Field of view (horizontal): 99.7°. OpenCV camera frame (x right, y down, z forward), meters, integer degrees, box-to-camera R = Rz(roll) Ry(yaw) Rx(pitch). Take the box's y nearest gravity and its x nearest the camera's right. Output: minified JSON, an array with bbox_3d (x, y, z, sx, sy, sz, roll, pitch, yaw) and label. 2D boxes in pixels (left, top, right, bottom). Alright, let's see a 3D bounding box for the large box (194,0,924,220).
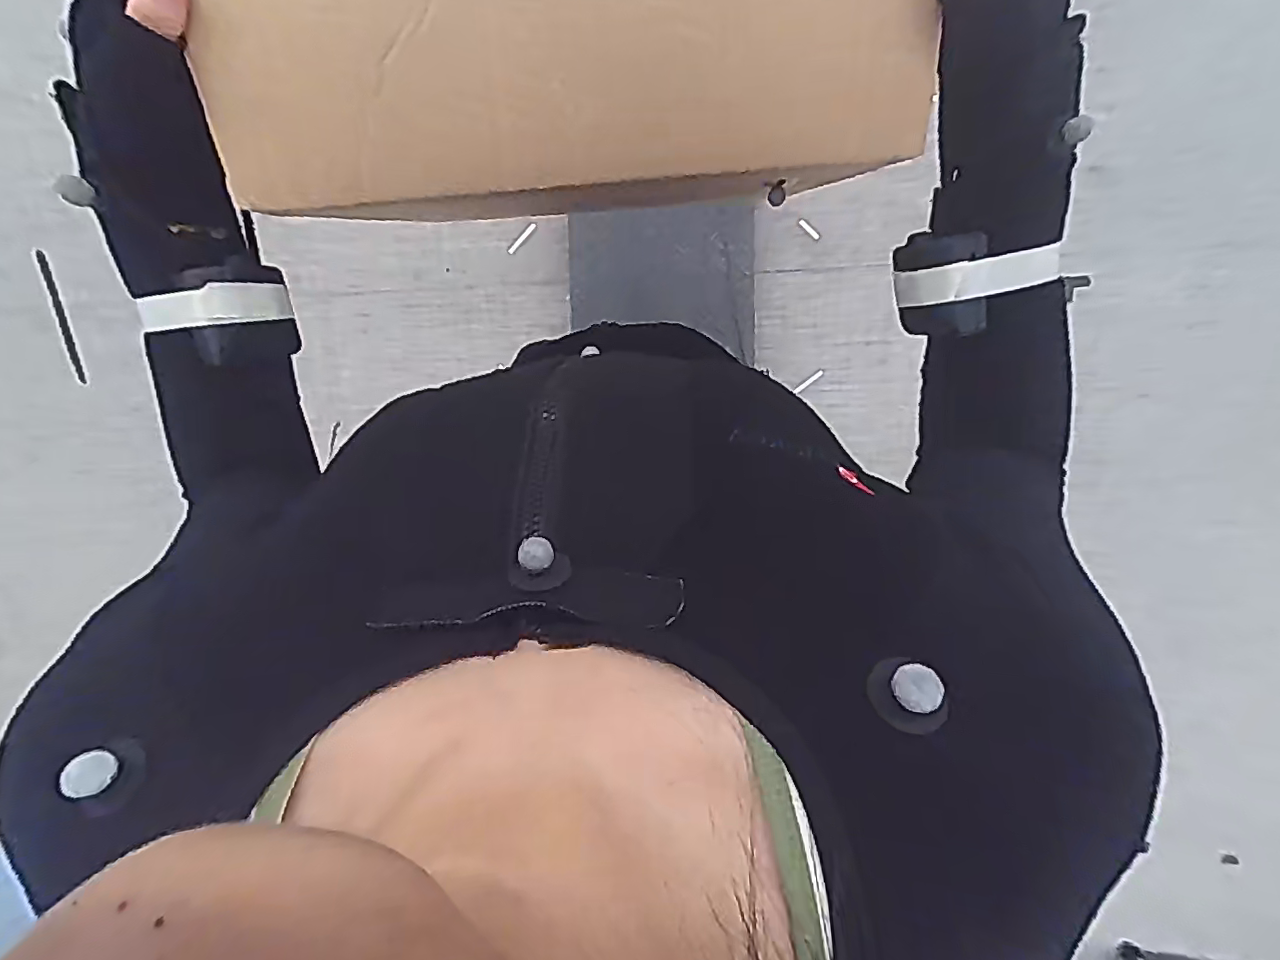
[{"bbox_3d":[-0.045,-0.381,0.404,0.408,0.320,0.320,-3,114,3],"label":"large box"}]
